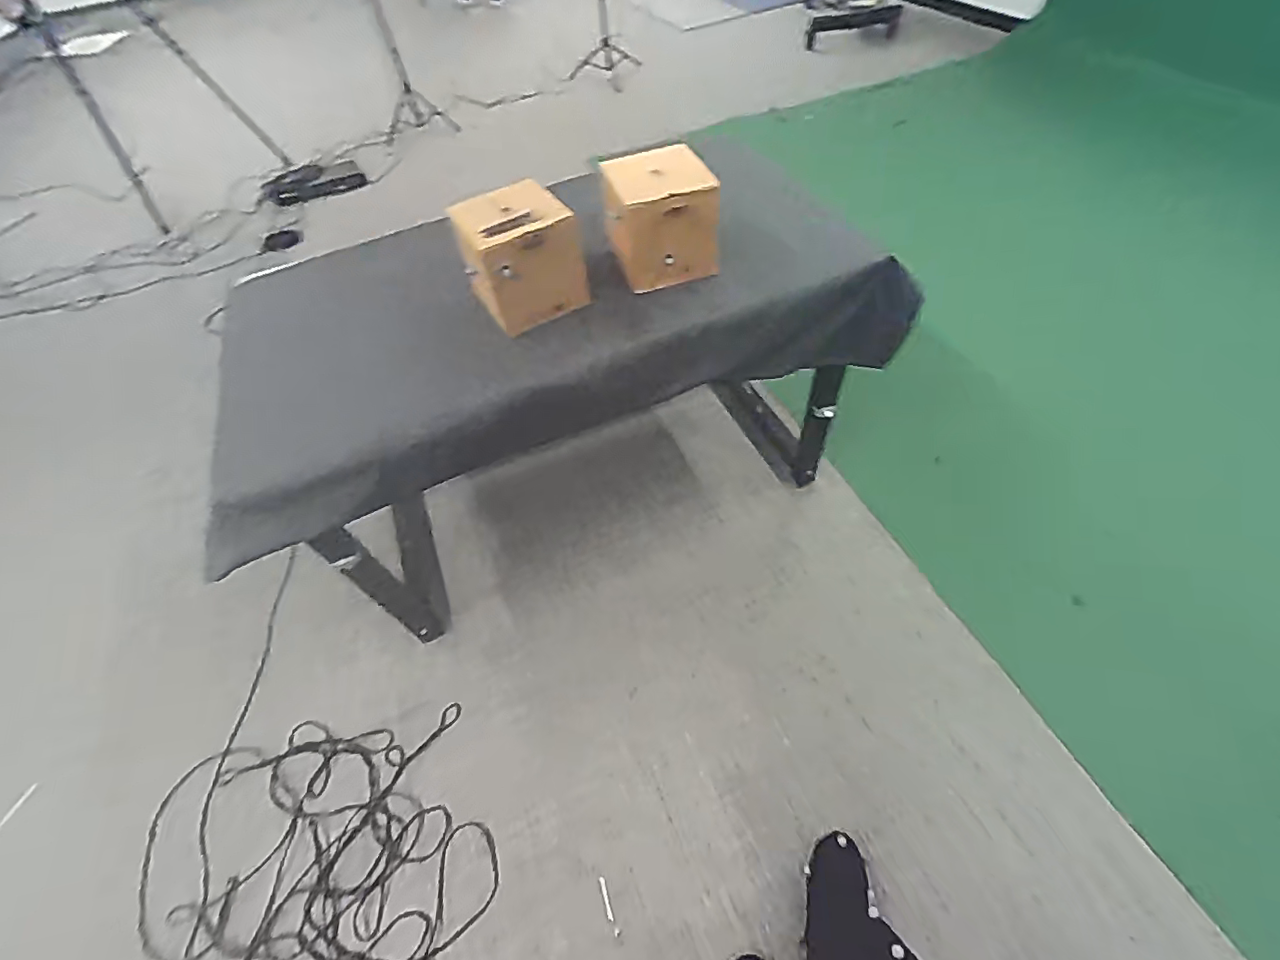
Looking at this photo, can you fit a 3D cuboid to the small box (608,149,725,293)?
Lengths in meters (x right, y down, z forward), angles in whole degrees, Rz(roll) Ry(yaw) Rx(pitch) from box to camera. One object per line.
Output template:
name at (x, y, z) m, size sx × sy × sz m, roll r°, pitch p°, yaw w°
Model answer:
small box at (0.046, -0.477, 1.001) m, size 0.168 × 0.176 × 0.179 m, roll -16°, pitch 54°, yaw -7°
